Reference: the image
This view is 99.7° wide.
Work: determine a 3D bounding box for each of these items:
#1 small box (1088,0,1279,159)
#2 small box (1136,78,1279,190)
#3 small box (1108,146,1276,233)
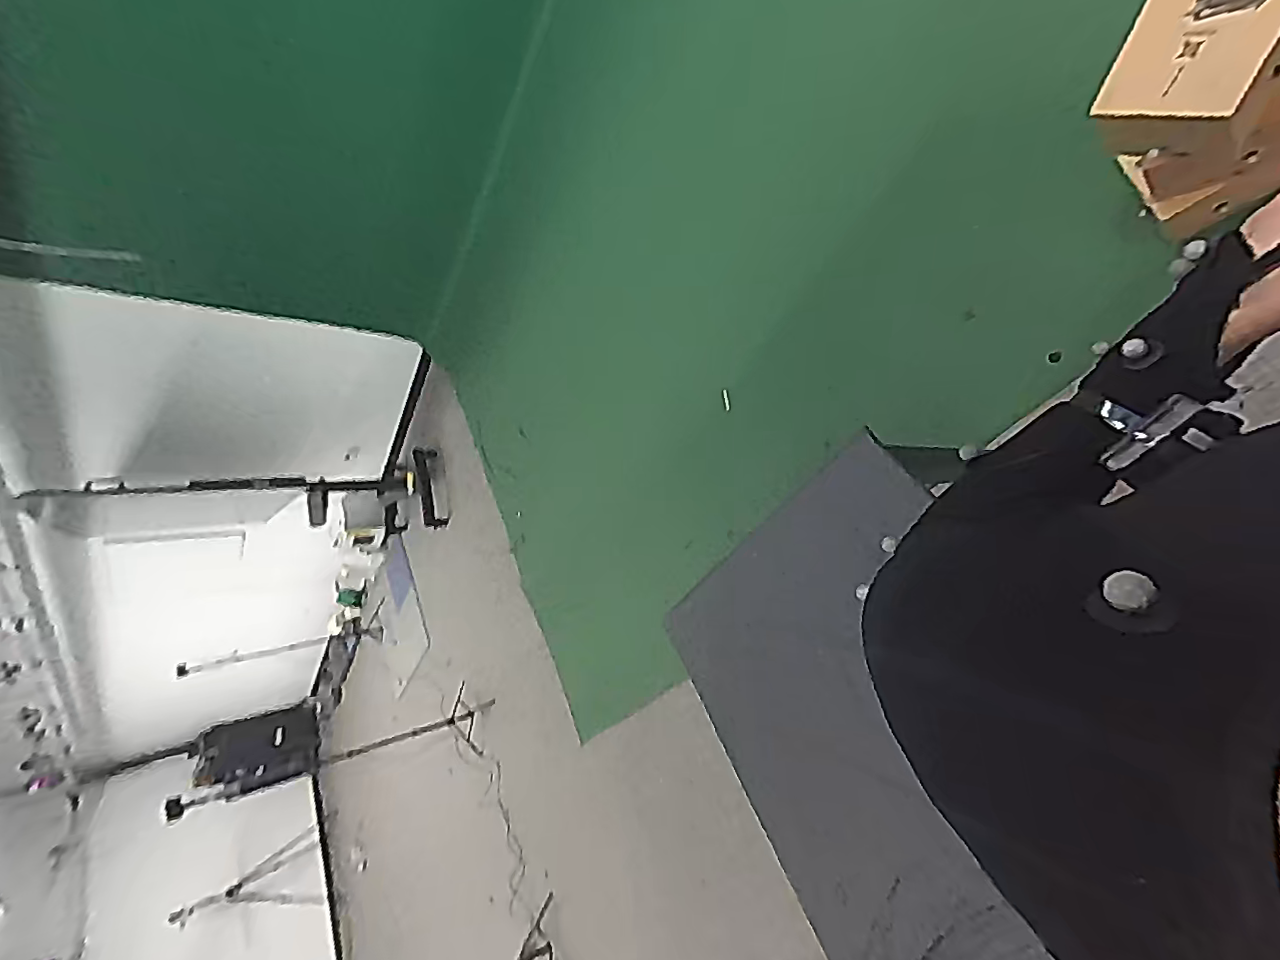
[{"bbox_3d":[0.792,-0.590,0.771,0.168,0.176,0.179,37,119,40],"label":"small box"},{"bbox_3d":[0.920,-0.599,0.874,0.168,0.176,0.179,-4,88,47],"label":"small box"},{"bbox_3d":[1.023,-0.588,1.002,0.168,0.176,0.179,-33,67,43],"label":"small box"}]
